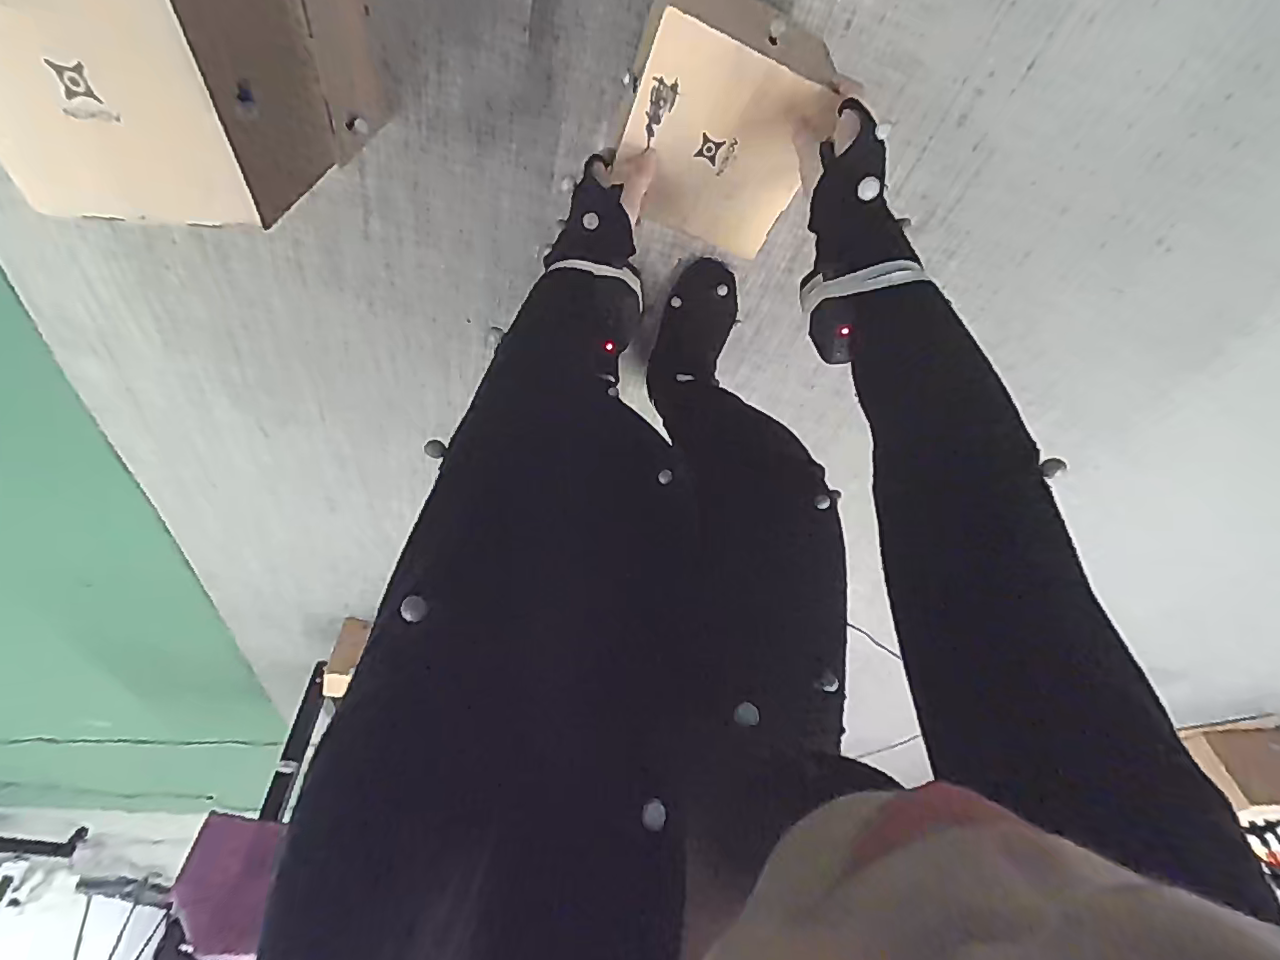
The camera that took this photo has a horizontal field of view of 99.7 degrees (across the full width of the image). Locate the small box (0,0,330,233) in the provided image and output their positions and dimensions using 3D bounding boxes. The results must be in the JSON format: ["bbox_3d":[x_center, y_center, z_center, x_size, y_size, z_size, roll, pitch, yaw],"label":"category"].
[{"bbox_3d":[-0.369,-0.317,0.412,0.168,0.176,0.179,2,137,-5],"label":"small box"}]

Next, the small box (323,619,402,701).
[{"bbox_3d":[-0.811,0.528,1.589,0.168,0.176,0.179,16,136,-18],"label":"small box"}]

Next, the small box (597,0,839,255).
[{"bbox_3d":[0.069,-0.373,0.552,0.179,0.176,0.168,15,143,-16],"label":"small box"}]
